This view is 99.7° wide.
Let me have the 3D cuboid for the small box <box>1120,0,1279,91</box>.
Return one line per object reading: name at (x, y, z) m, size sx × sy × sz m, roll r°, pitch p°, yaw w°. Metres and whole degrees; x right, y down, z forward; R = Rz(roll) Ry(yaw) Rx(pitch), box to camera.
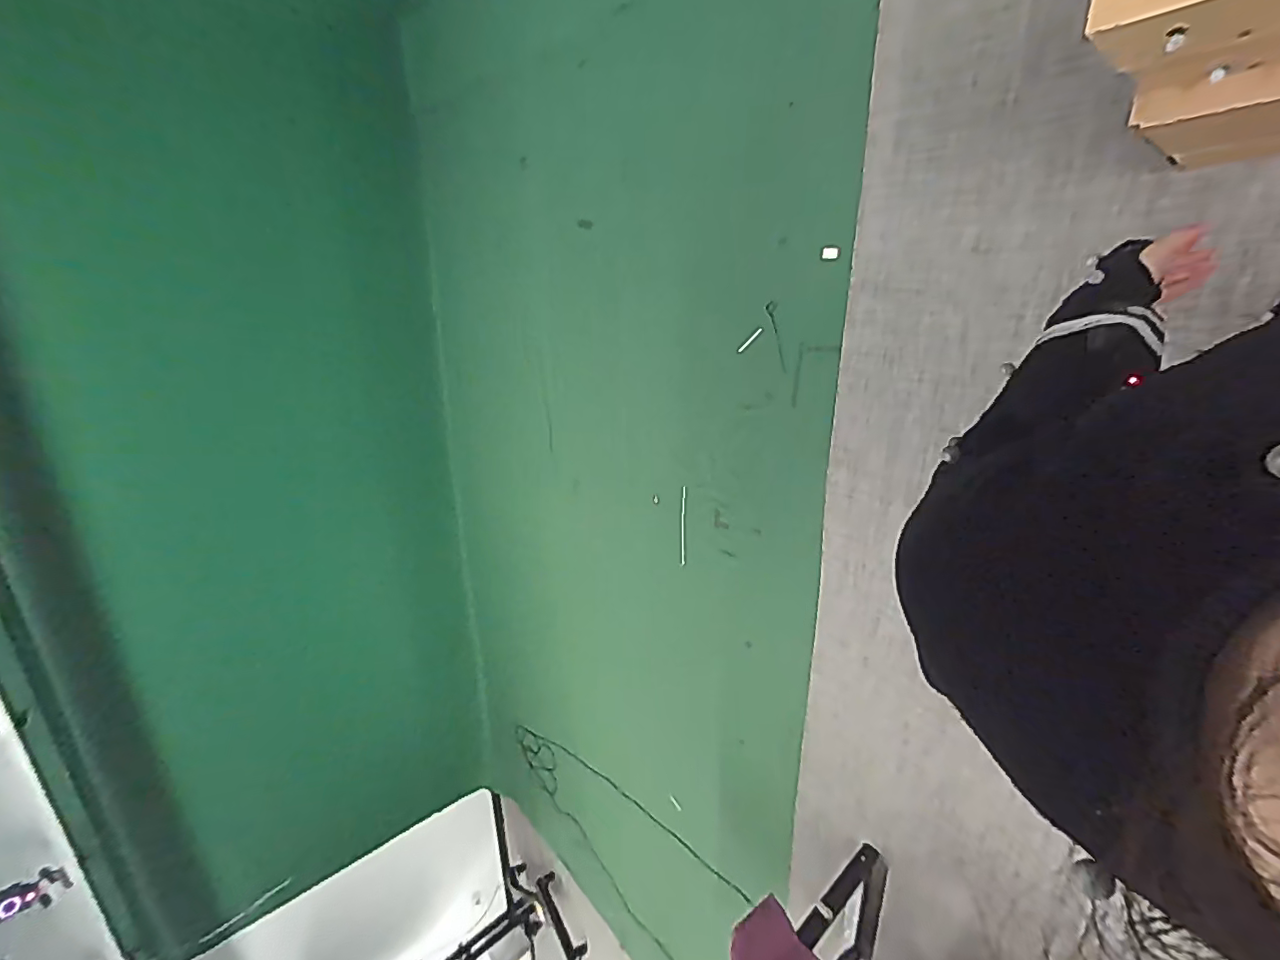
small box at (0.678, -0.573, 0.605) m, size 0.168 × 0.176 × 0.179 m, roll 19°, pitch 119°, yaw 45°
